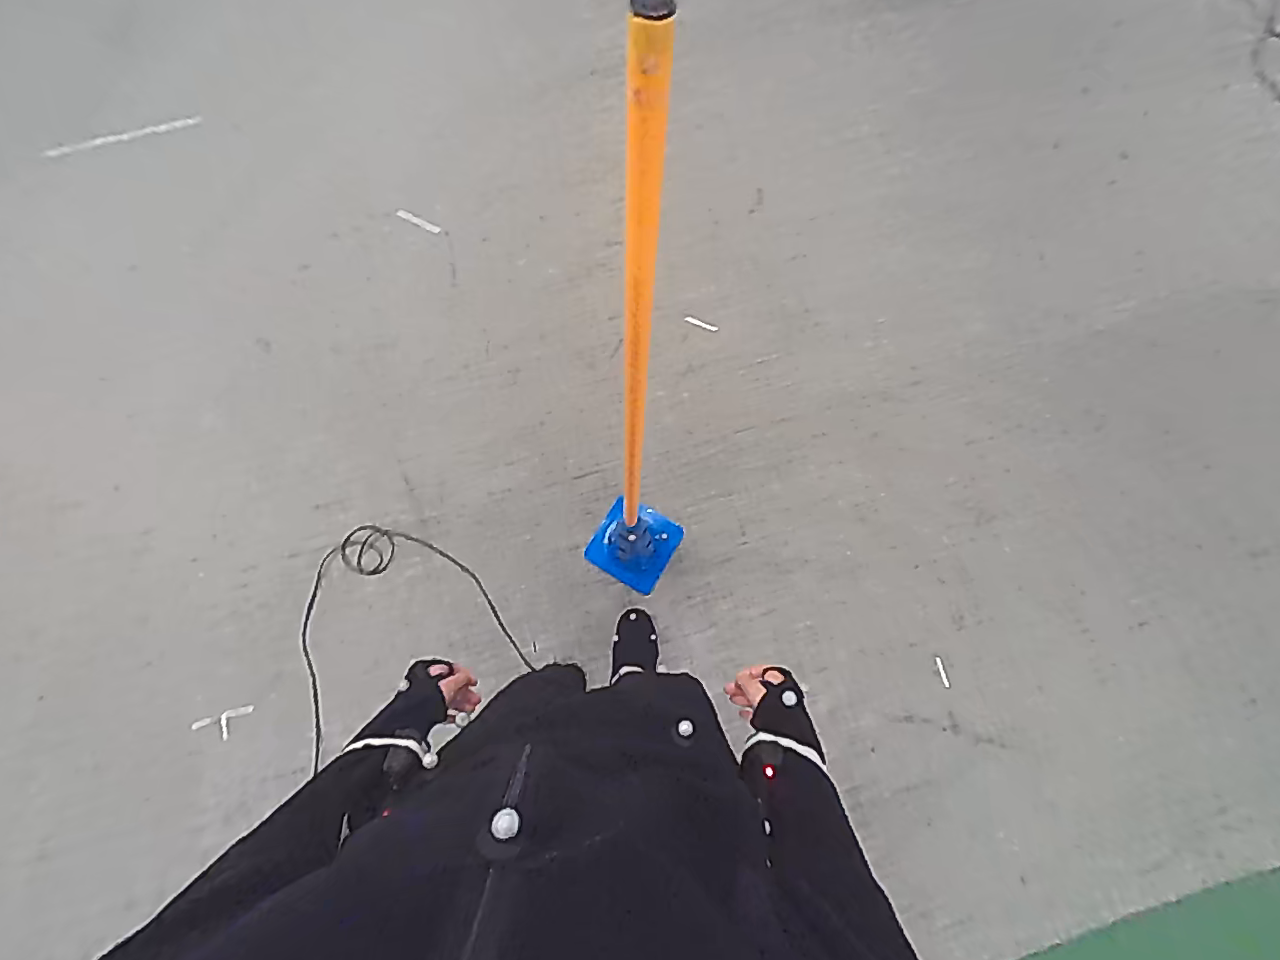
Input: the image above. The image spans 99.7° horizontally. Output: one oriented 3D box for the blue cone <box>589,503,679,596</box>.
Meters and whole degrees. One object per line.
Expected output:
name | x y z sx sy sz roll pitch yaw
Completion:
blue cone | -0.017 0.129 1.193 0.192 0.380 0.193 29 78 7
